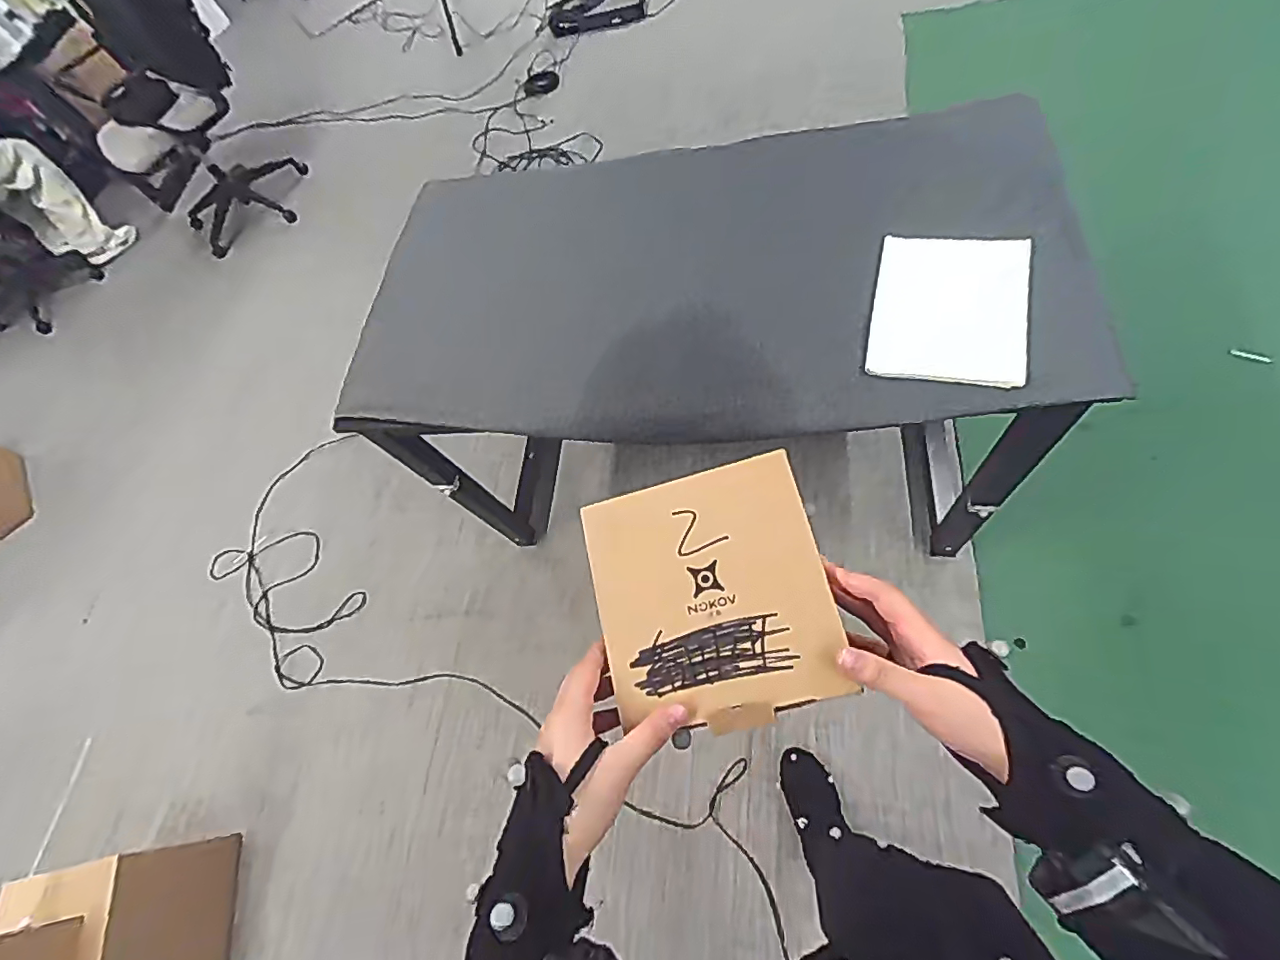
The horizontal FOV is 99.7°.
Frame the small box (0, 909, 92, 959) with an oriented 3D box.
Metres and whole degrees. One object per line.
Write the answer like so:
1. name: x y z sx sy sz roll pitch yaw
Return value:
1. small box: -1.240 0.980 1.054 0.168 0.176 0.179 -16 62 6
